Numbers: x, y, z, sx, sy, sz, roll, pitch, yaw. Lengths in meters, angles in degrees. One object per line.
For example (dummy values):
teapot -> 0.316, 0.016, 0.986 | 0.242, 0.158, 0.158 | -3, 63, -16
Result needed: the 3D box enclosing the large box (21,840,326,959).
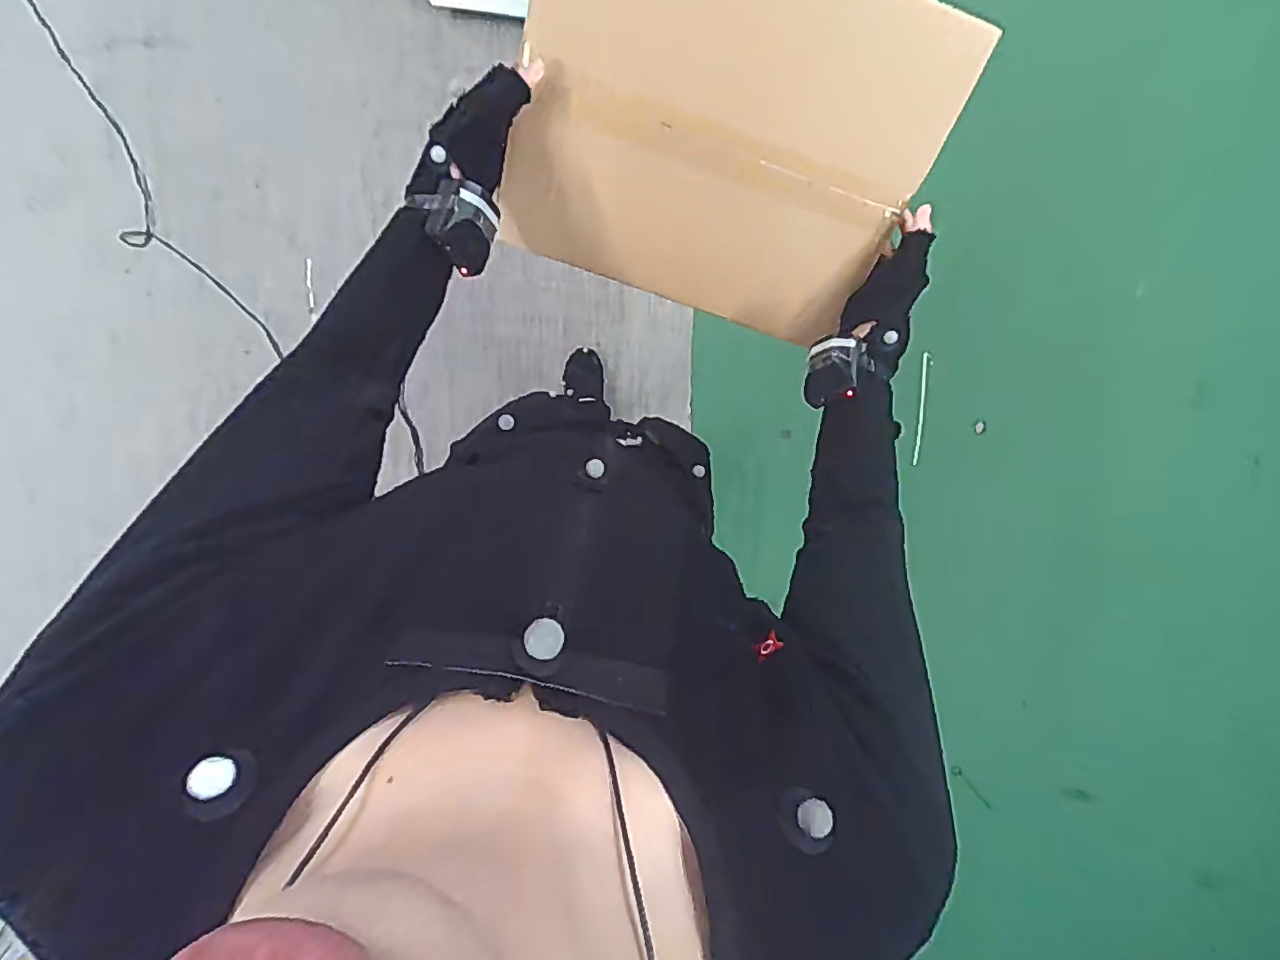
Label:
large box -> -0.943, 1.014, 1.136 | 0.408, 0.320, 0.320 | 1, 94, -4
